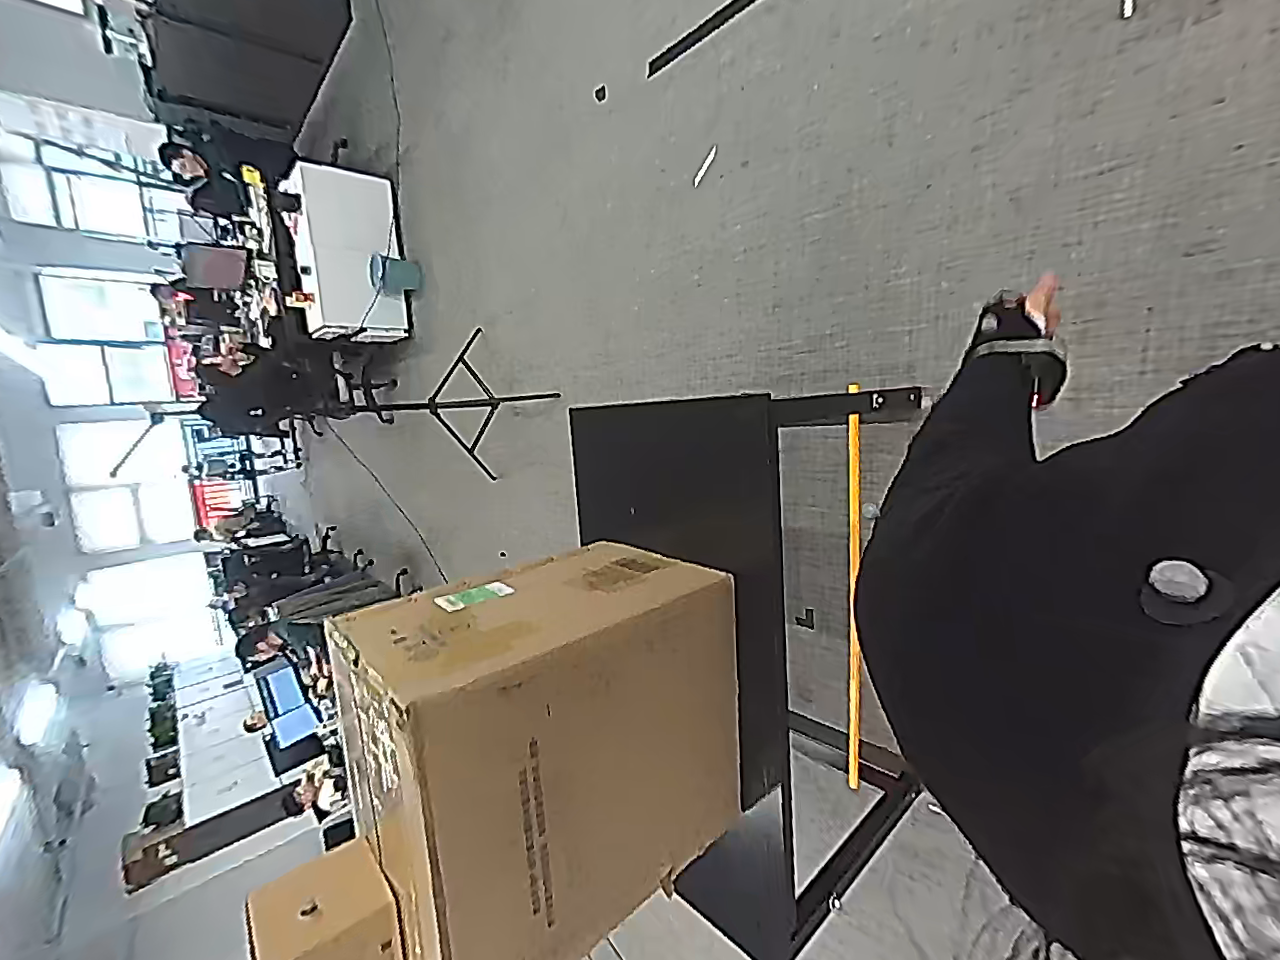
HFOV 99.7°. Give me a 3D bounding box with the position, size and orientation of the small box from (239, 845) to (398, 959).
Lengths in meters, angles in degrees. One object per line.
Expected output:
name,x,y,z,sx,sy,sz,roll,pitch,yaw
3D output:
small box,-0.465,0.690,0.794,0.179,0.176,0.168,4,100,49
